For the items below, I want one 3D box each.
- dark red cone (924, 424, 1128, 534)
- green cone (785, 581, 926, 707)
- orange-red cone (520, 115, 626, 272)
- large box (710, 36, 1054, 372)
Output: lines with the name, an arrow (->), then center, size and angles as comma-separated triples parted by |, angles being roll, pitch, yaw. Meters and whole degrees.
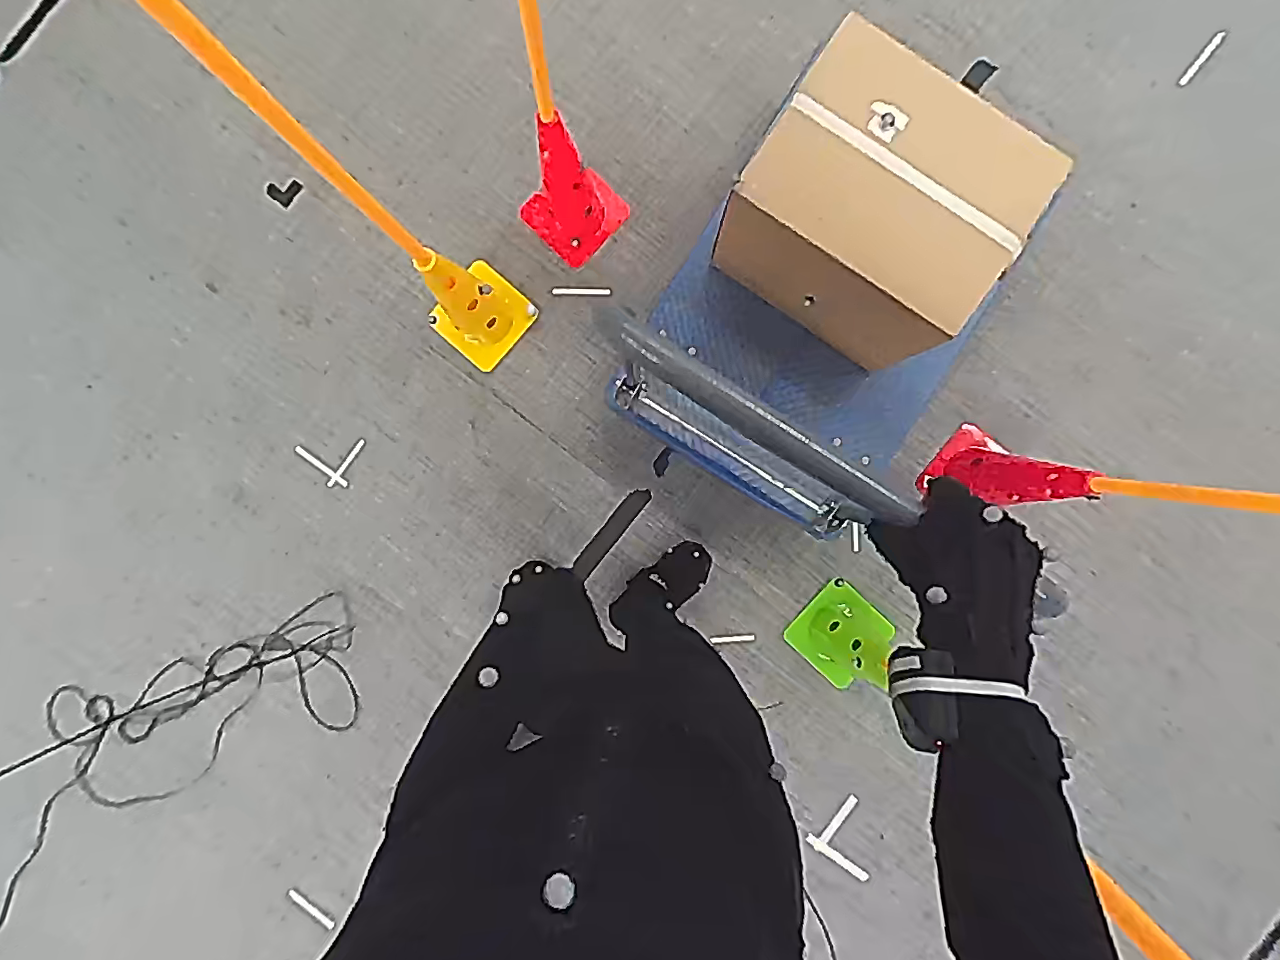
dark red cone -> 0.786, 0.002, 1.090 | 0.201, 0.394, 0.202 | 38, 91, -1
green cone -> 0.473, 0.371, 1.115 | 0.202, 0.368, 0.200 | 42, 91, -1
orange-red cone -> -0.159, -0.624, 1.122 | 0.199, 0.360, 0.198 | -45, 90, 0
large box -> 0.383, -0.444, 0.969 | 0.408, 0.320, 0.320 | 34, 92, 1
